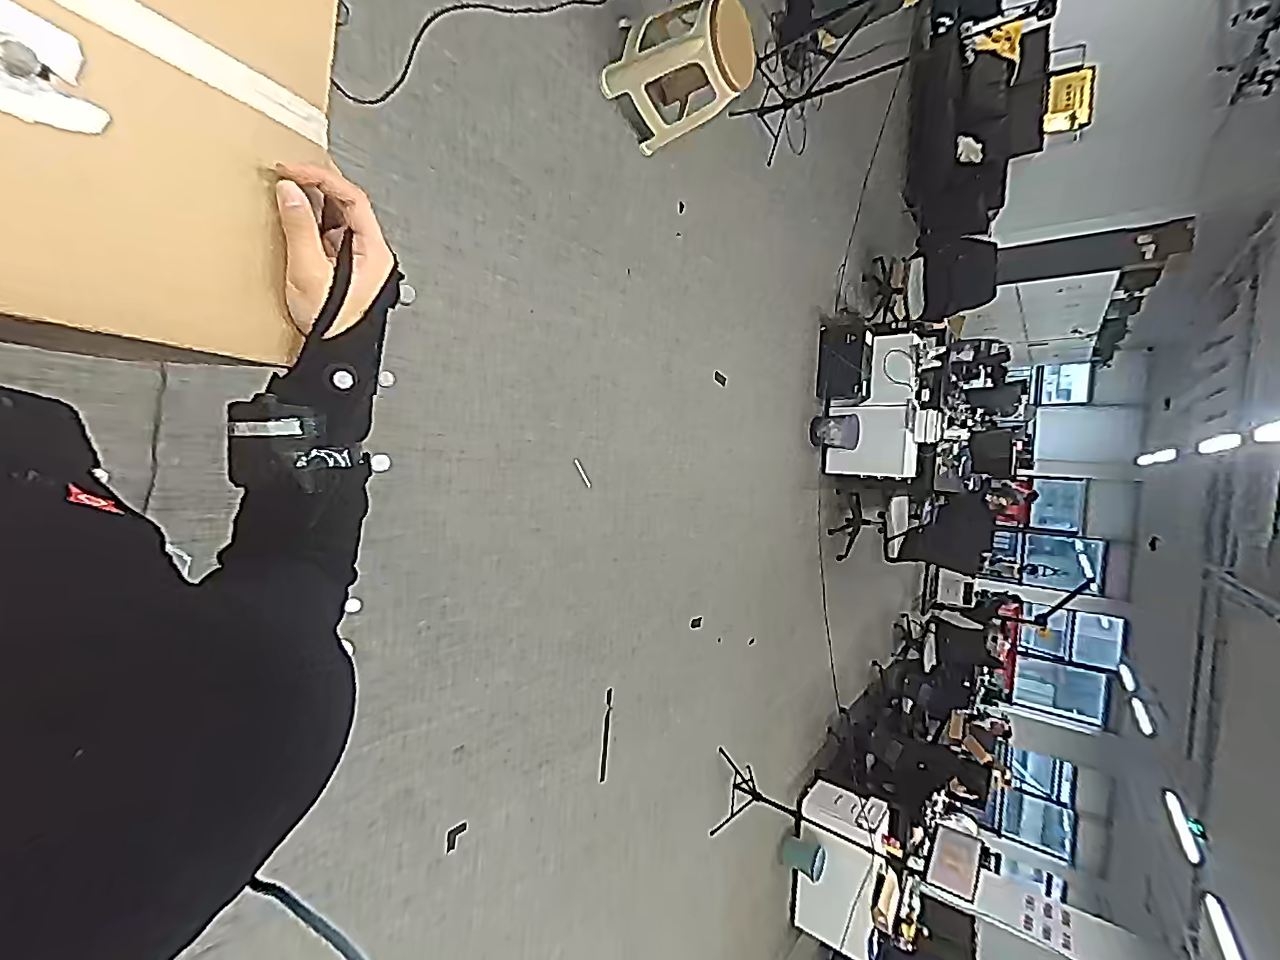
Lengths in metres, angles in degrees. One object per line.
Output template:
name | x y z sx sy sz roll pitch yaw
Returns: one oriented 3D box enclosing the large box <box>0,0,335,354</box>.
large box | -0.446 -0.257 0.273 0.408 0.320 0.320 2 97 -60
